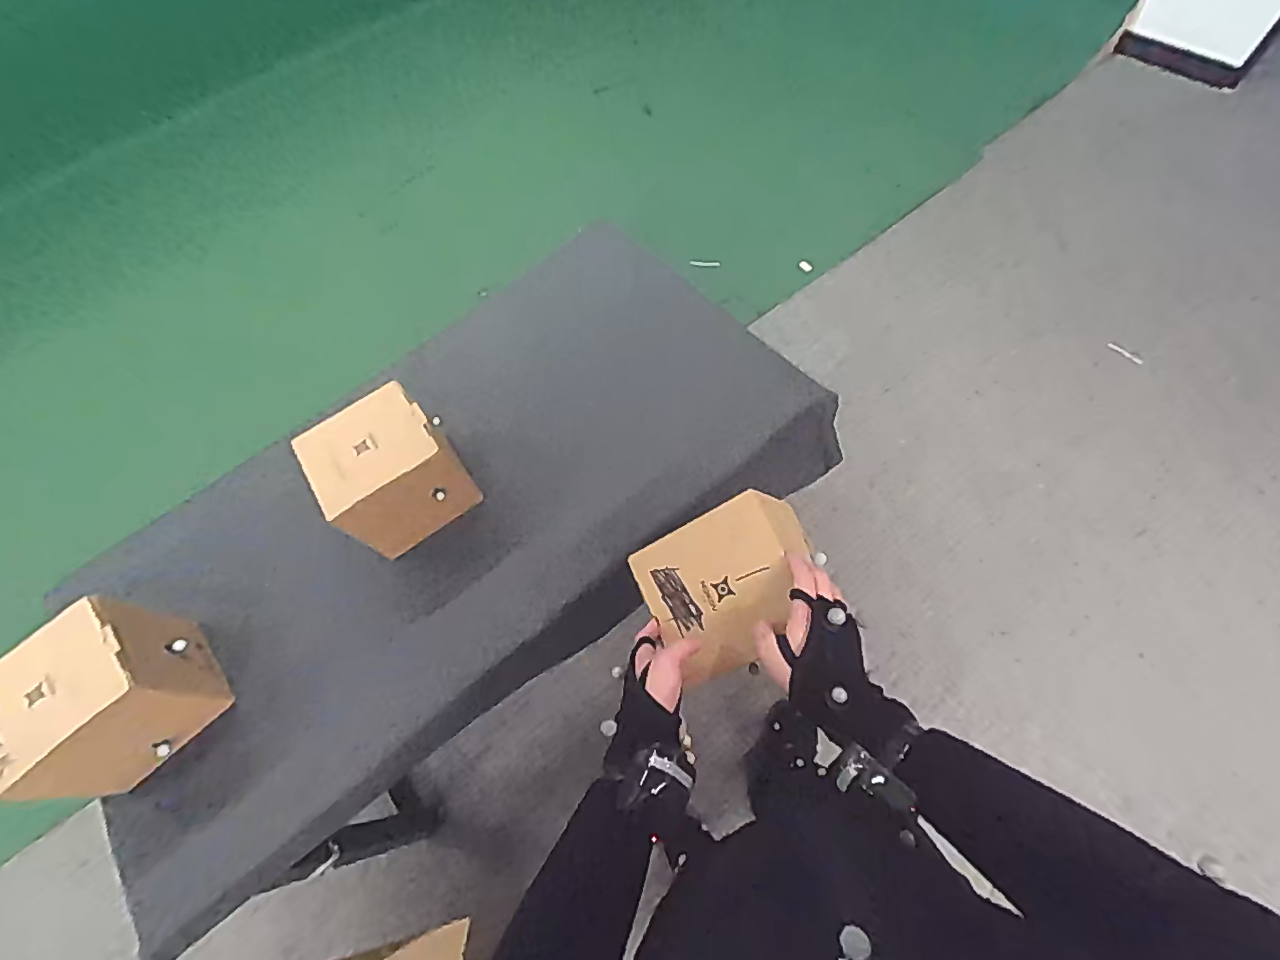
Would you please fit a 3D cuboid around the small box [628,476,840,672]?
[{"bbox_3d":[0.119,0.116,0.658,0.179,0.176,0.168,-30,69,21],"label":"small box"}]

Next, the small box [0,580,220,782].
[{"bbox_3d":[-0.718,0.270,0.728,0.179,0.176,0.168,-42,67,-15],"label":"small box"}]

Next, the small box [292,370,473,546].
[{"bbox_3d":[-0.383,-0.028,0.838,0.179,0.176,0.168,-35,64,-9],"label":"small box"}]
